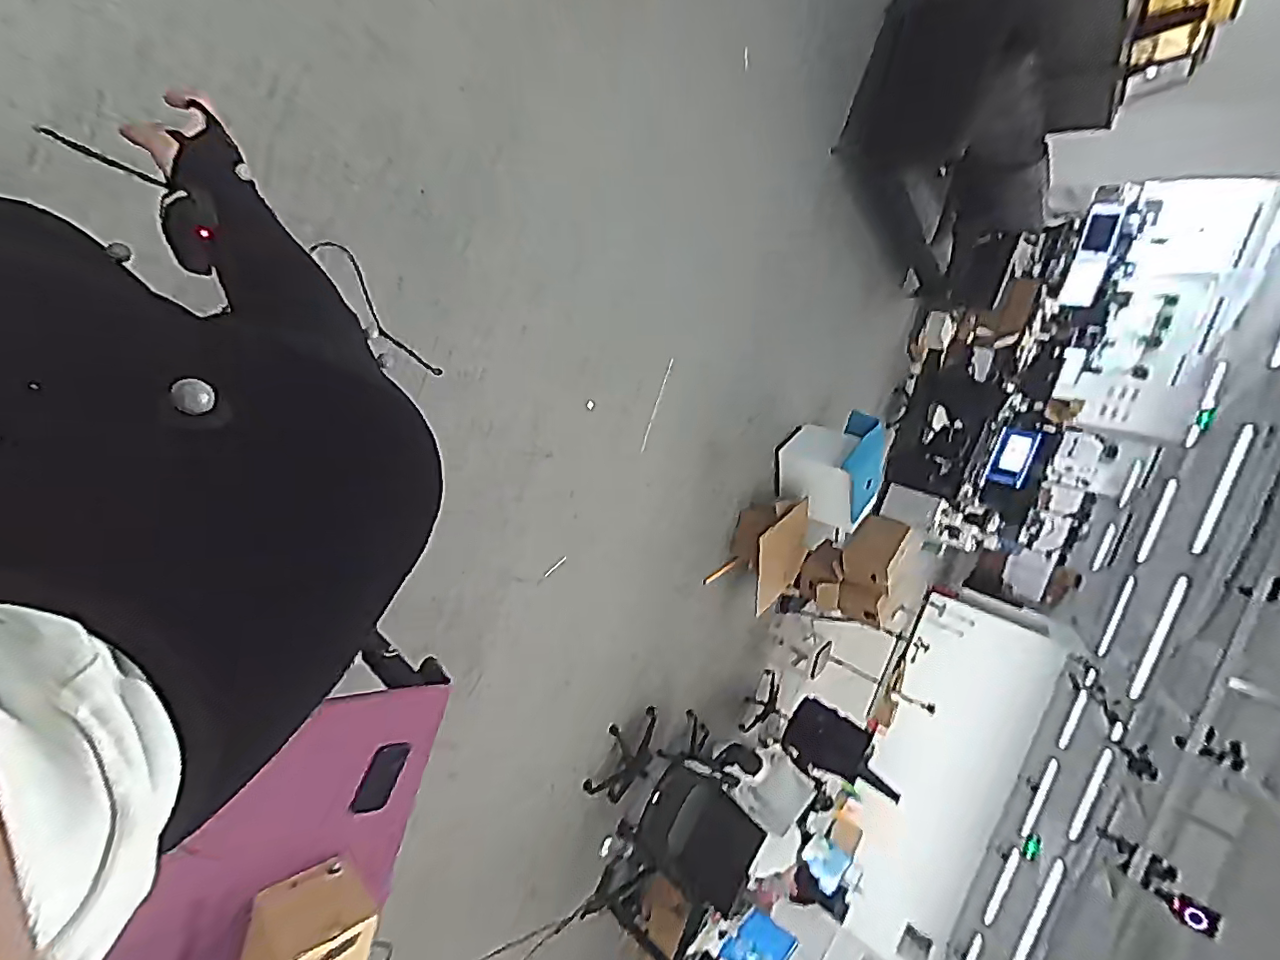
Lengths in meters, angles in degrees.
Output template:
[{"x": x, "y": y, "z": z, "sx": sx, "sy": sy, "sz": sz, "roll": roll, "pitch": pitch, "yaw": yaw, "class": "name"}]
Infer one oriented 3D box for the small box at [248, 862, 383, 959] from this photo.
[{"x": -0.633, "y": 0.894, "z": 1.051, "sx": 0.168, "sy": 0.176, "sz": 0.179, "roll": 6, "pitch": 103, "yaw": -52, "class": "small box"}]
